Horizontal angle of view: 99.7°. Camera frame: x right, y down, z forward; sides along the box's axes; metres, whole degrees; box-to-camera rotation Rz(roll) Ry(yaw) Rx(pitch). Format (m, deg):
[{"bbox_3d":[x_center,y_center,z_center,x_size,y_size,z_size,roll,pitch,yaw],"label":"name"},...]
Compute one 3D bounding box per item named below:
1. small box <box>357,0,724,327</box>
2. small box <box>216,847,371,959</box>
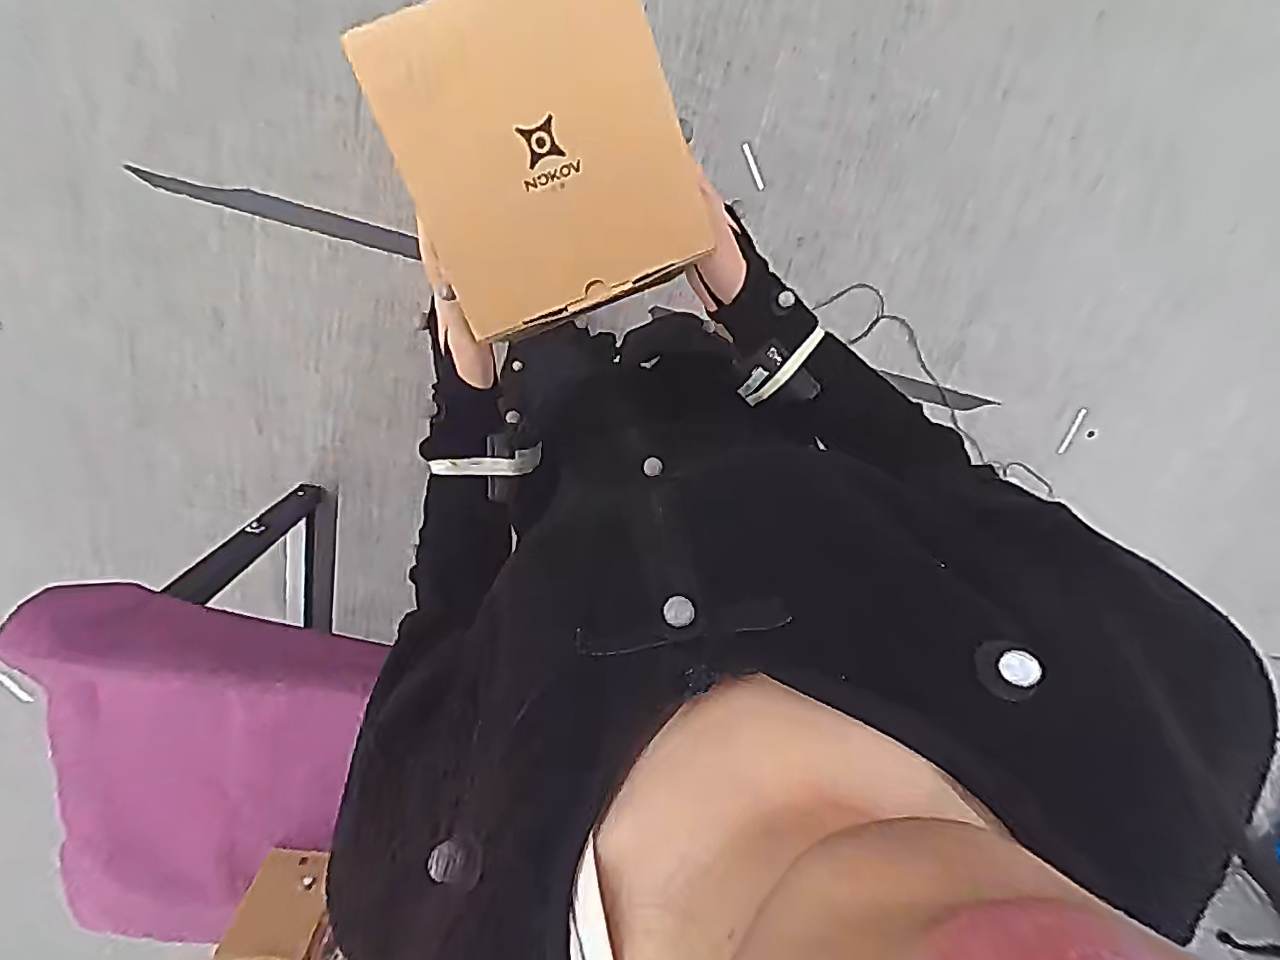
[{"bbox_3d":[-0.061,-0.220,0.391,0.168,0.176,0.179,-22,108,-1],"label":"small box"},{"bbox_3d":[-0.566,0.756,0.899,0.168,0.176,0.179,12,108,-11],"label":"small box"}]
